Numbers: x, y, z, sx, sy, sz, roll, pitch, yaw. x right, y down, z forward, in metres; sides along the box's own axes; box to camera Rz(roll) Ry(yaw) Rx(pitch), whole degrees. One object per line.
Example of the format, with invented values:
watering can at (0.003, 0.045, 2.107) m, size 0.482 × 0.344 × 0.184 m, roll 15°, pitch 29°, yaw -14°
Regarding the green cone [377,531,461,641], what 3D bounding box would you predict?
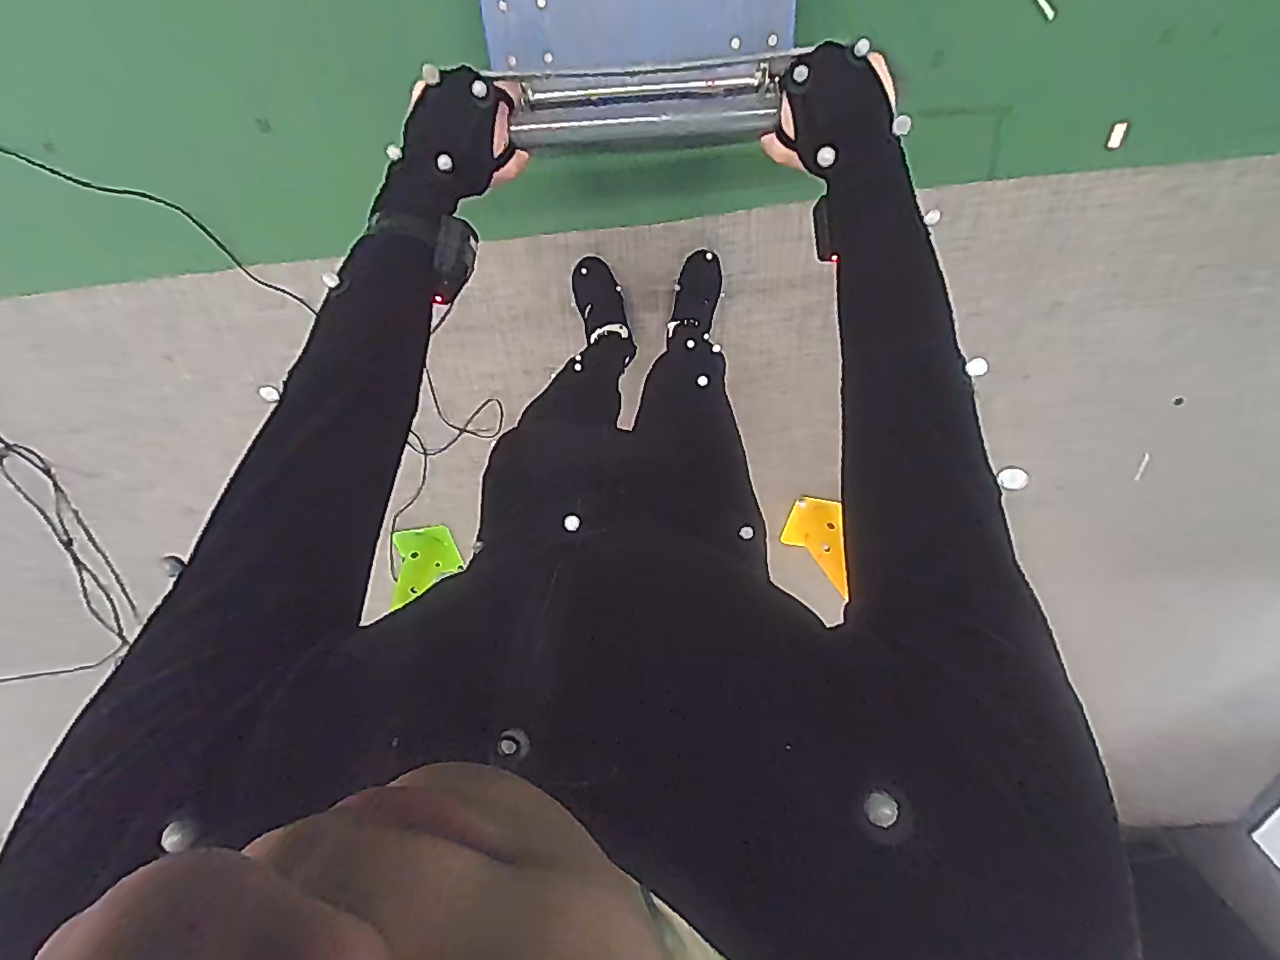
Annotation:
green cone at (-0.736, 0.353, 1.712) m, size 0.202 × 0.368 × 0.200 m, roll -8°, pitch 122°, yaw 6°
